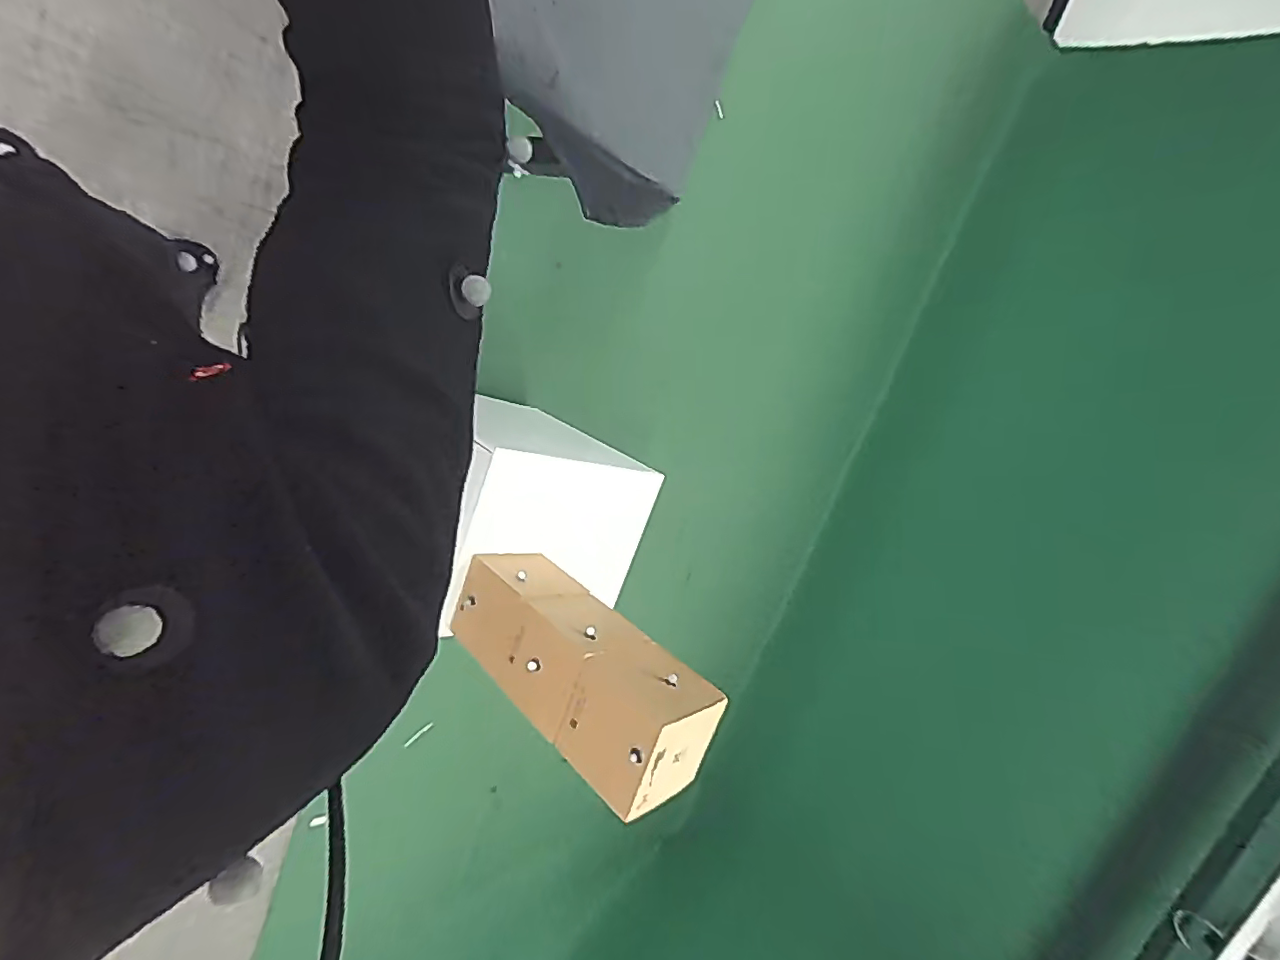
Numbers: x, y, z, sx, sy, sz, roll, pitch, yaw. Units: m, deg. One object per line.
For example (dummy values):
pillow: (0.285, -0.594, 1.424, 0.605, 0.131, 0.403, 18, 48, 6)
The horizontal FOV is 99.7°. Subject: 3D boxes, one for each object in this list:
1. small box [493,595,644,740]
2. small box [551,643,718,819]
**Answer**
small box: (-0.130, 0.318, 0.958, 0.179, 0.176, 0.168, 10, 105, -52)
small box: (-0.010, 0.383, 0.868, 0.179, 0.176, 0.168, 6, 107, -52)
